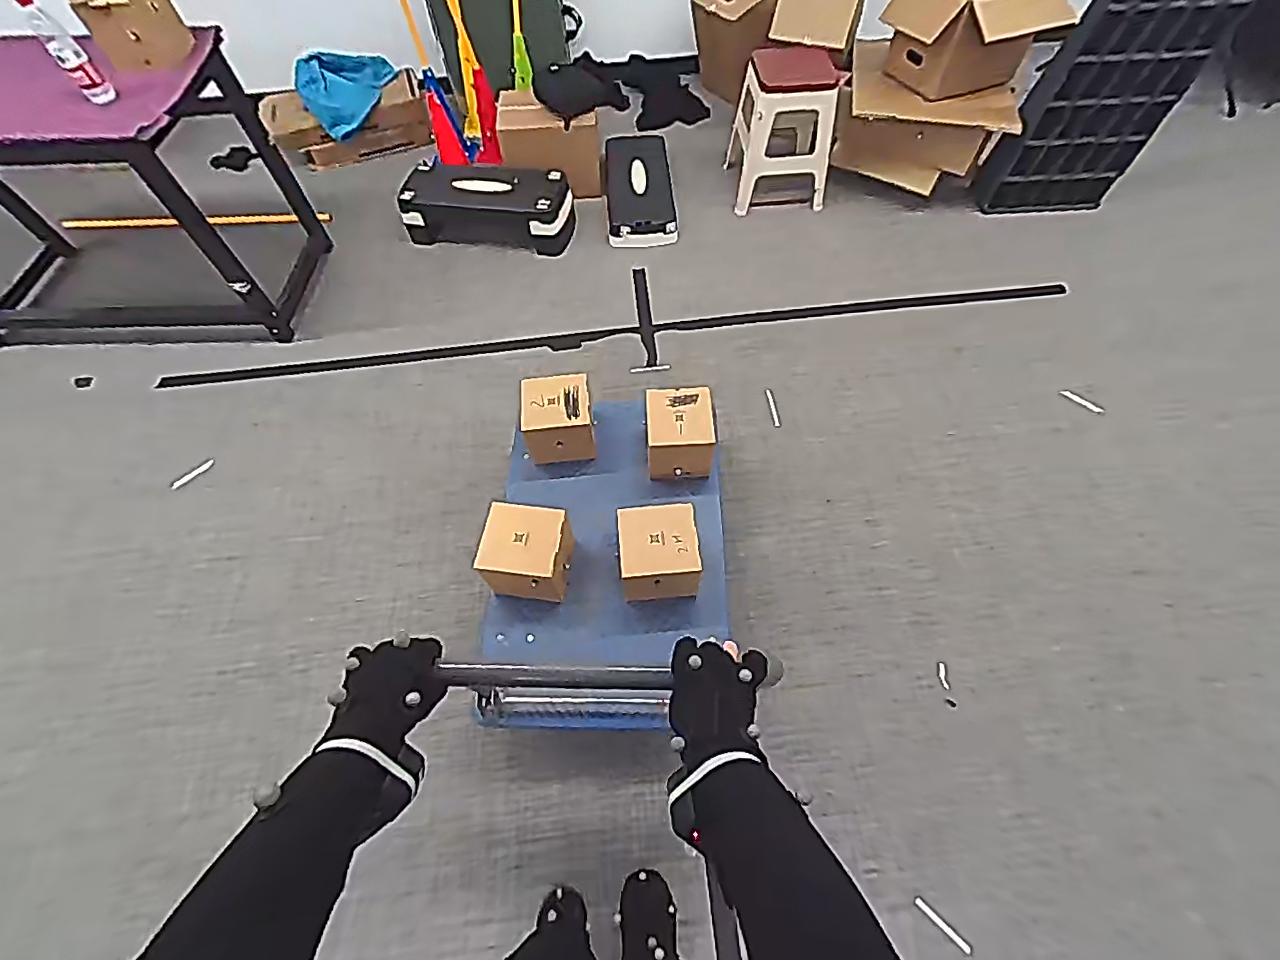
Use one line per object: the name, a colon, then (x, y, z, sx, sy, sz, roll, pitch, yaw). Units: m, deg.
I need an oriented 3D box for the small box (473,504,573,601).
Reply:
small box: (-0.263, 0.173, 1.261, 0.179, 0.176, 0.168, 6, 60, 3)

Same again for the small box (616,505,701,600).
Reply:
small box: (0.041, 0.173, 1.252, 0.179, 0.176, 0.168, -5, 61, -1)

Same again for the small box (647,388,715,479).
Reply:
small box: (0.101, -0.119, 1.416, 0.168, 0.176, 0.179, -2, 62, 1)
